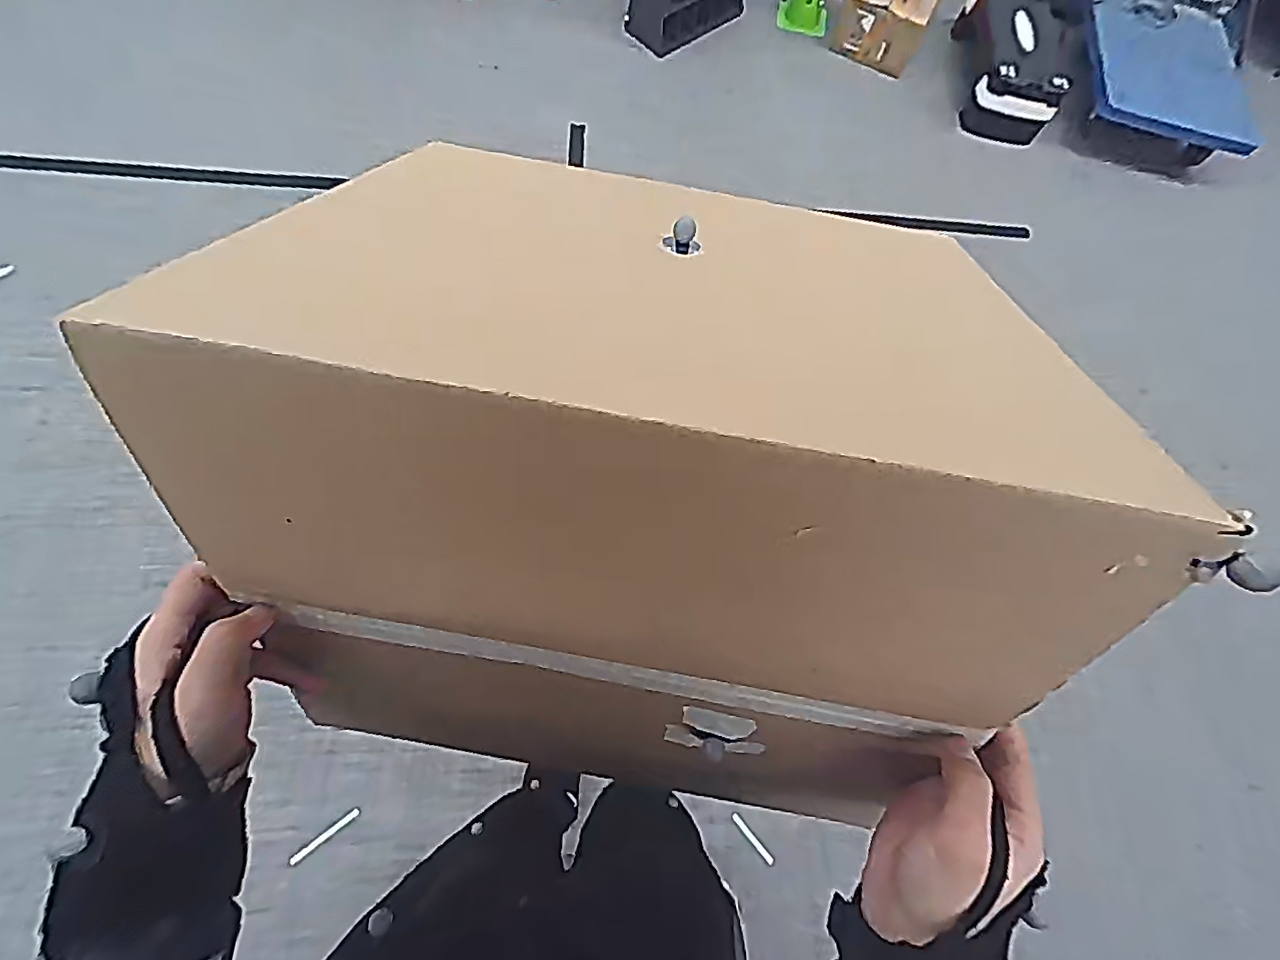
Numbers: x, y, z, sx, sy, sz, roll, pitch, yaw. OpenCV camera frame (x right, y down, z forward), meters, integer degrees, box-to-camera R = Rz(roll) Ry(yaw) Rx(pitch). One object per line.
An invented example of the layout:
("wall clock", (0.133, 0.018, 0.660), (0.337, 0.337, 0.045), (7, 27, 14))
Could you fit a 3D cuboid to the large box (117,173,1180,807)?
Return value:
("large box", (-0.002, -0.005, 0.405), (0.408, 0.320, 0.320), (10, 43, 0))
